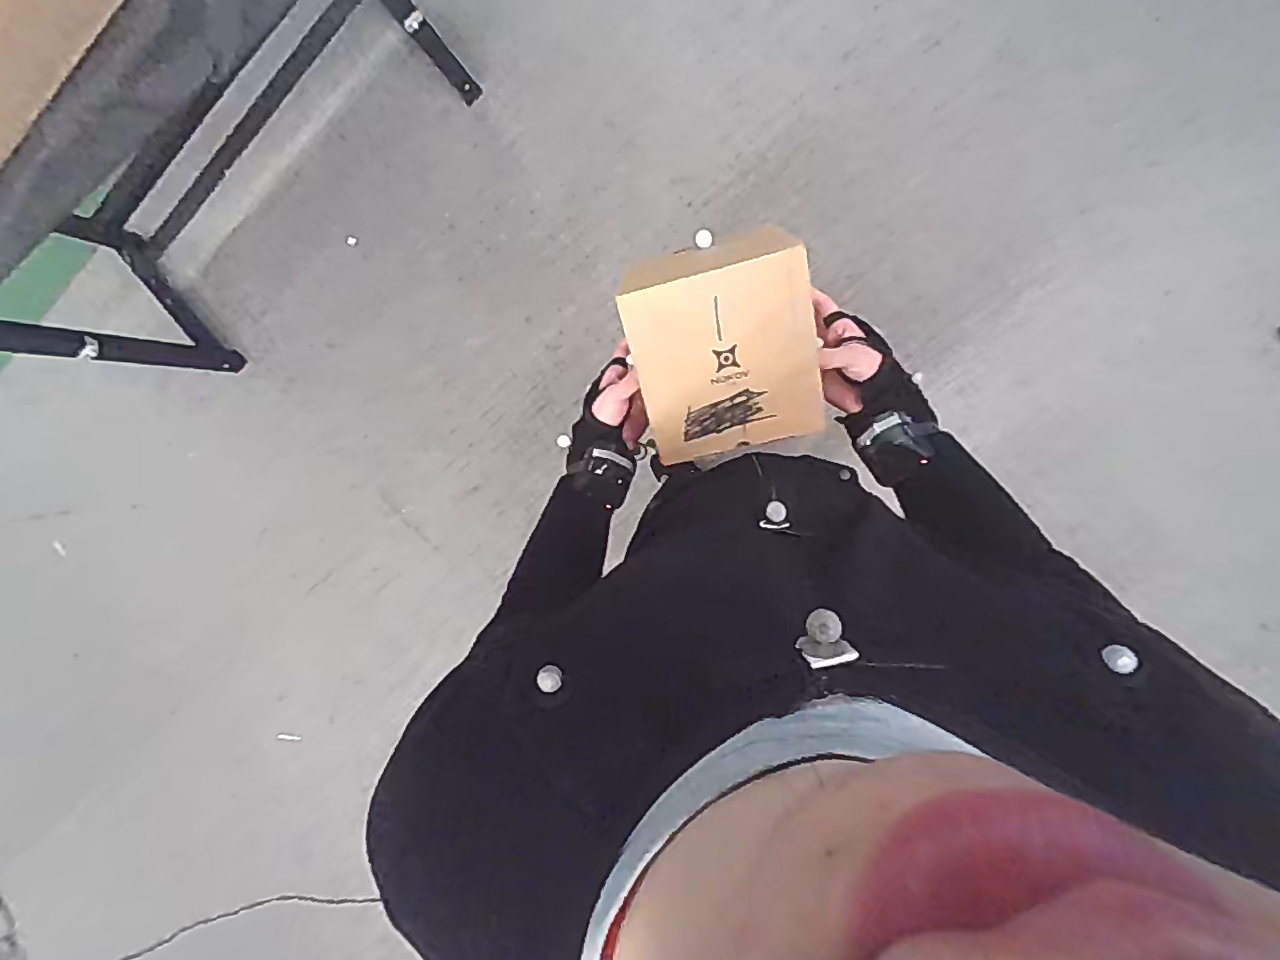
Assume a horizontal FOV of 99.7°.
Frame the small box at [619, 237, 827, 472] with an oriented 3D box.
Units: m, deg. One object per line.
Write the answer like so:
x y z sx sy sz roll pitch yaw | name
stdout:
0.085 -0.135 0.564 0.168 0.176 0.179 -13 117 9 | small box
